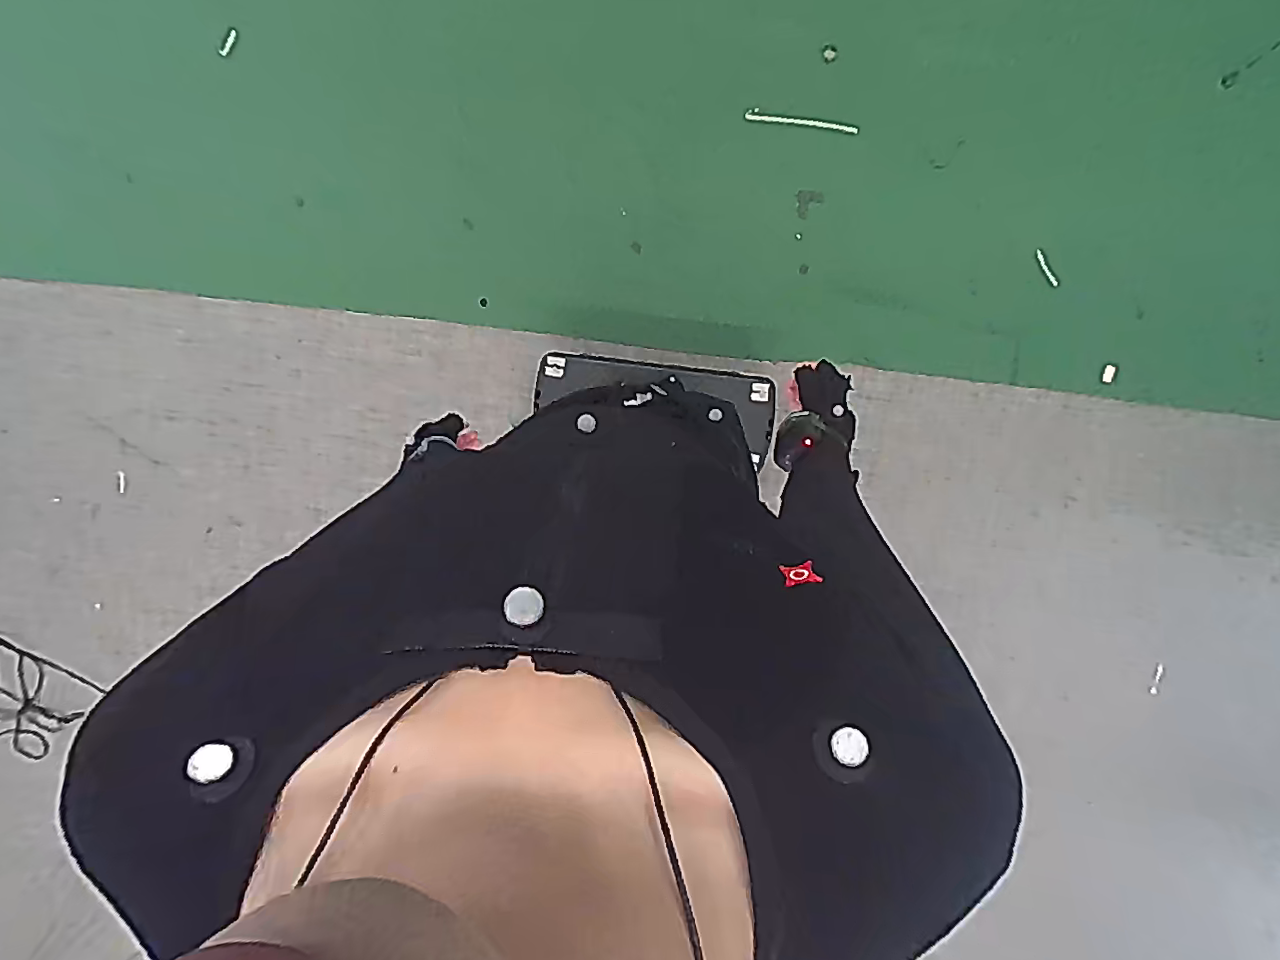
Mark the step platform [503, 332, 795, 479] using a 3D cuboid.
[{"bbox_3d":[0.020,-0.188,1.353,0.684,0.204,0.286,7,101,0],"label":"step platform"}]
